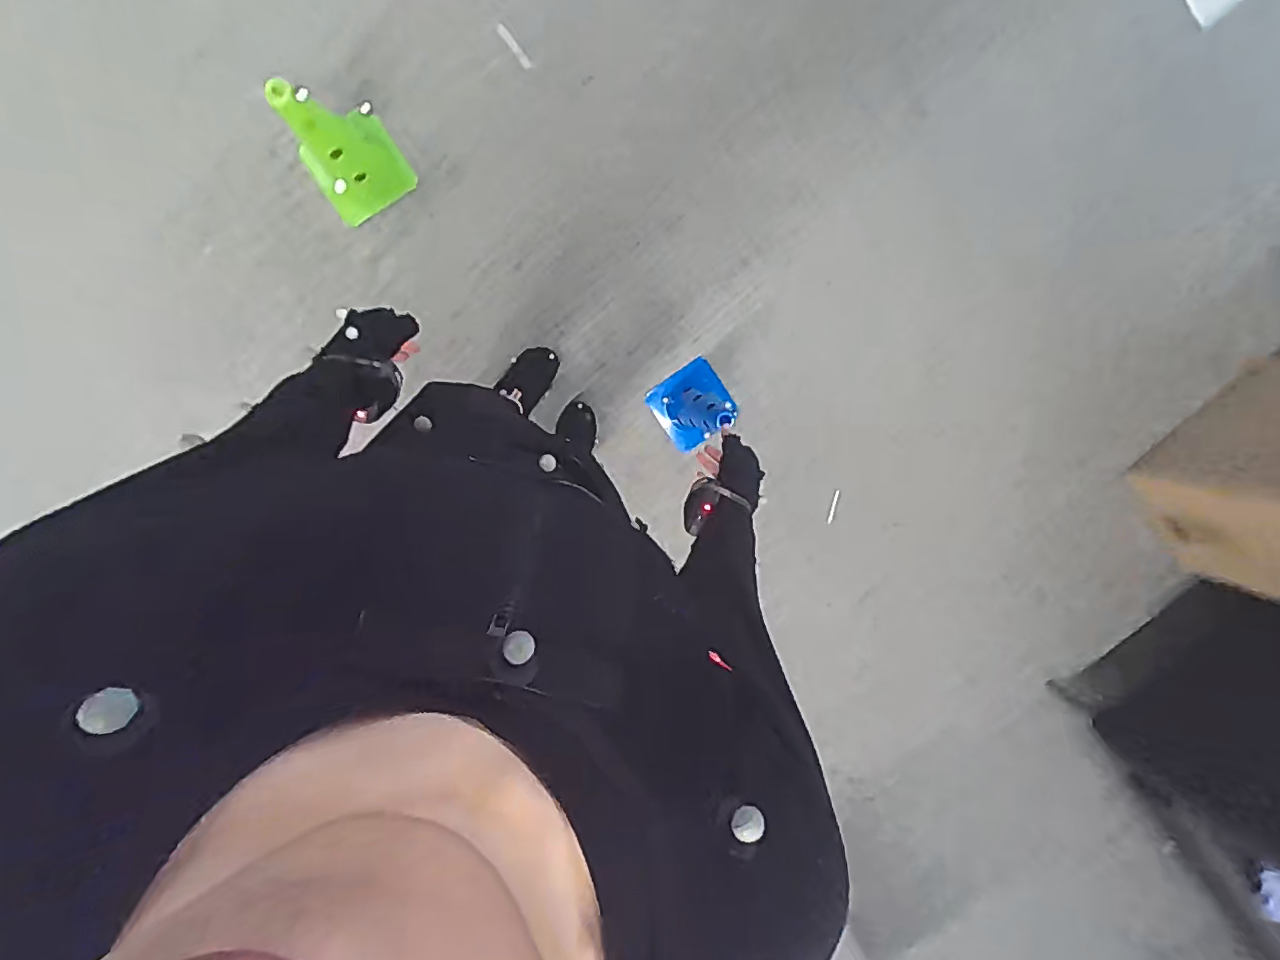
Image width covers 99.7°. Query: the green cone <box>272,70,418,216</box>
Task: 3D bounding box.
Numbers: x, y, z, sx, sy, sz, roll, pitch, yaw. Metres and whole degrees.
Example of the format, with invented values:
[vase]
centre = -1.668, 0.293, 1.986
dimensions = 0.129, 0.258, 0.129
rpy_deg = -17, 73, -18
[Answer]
[green cone]
centre = -0.633, -0.716, 1.091
dimensions = 0.200, 0.368, 0.202
rpy_deg = -33, 104, 1
